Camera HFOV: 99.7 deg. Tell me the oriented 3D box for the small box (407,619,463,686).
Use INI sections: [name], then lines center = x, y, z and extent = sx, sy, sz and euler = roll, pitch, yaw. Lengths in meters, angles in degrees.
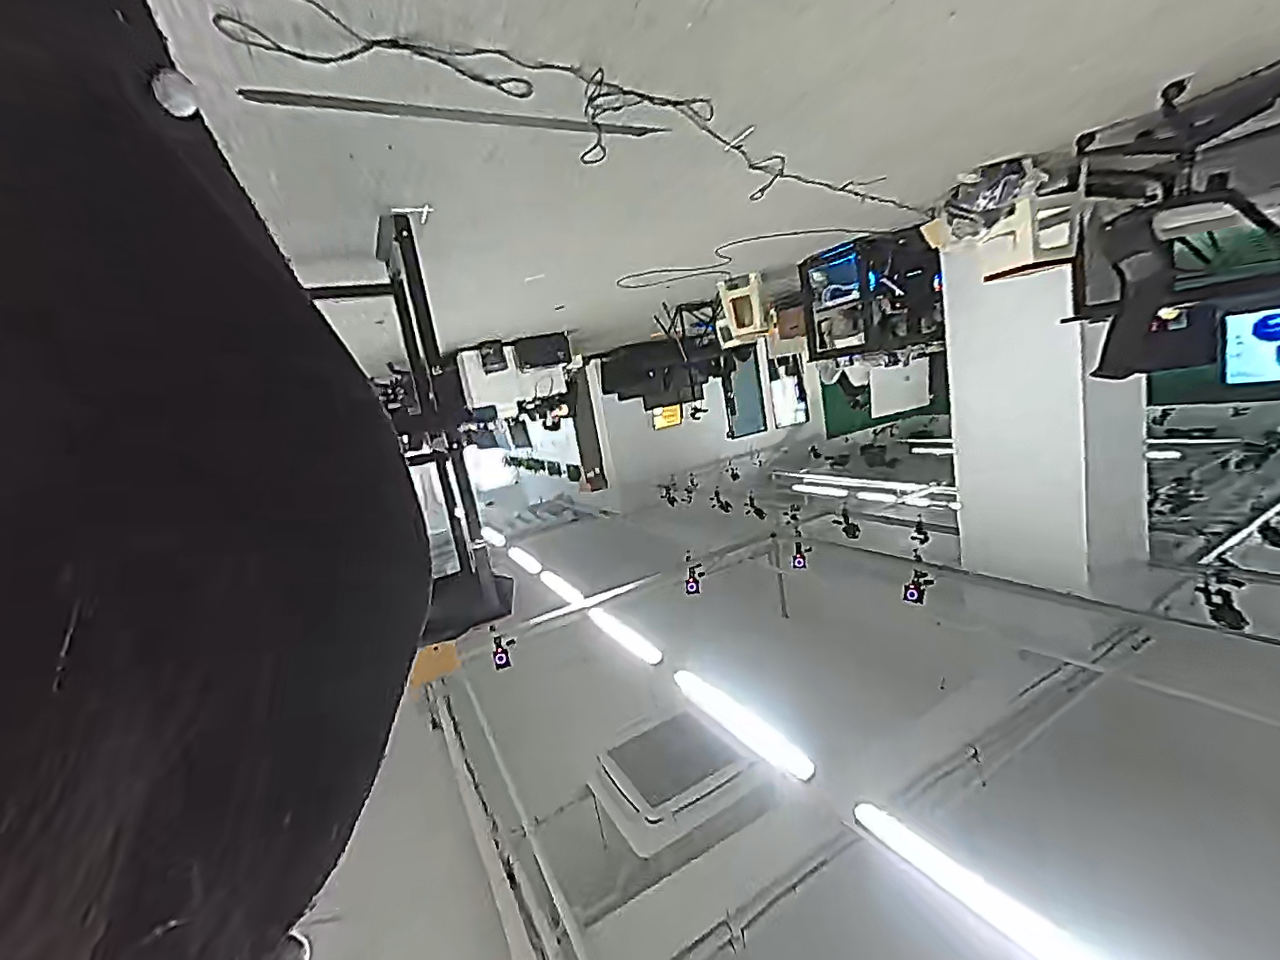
[small box]
center = -0.790, 0.654, 2.076
extent = 0.168, 0.176, 0.179
euler = -13, -169, -25
